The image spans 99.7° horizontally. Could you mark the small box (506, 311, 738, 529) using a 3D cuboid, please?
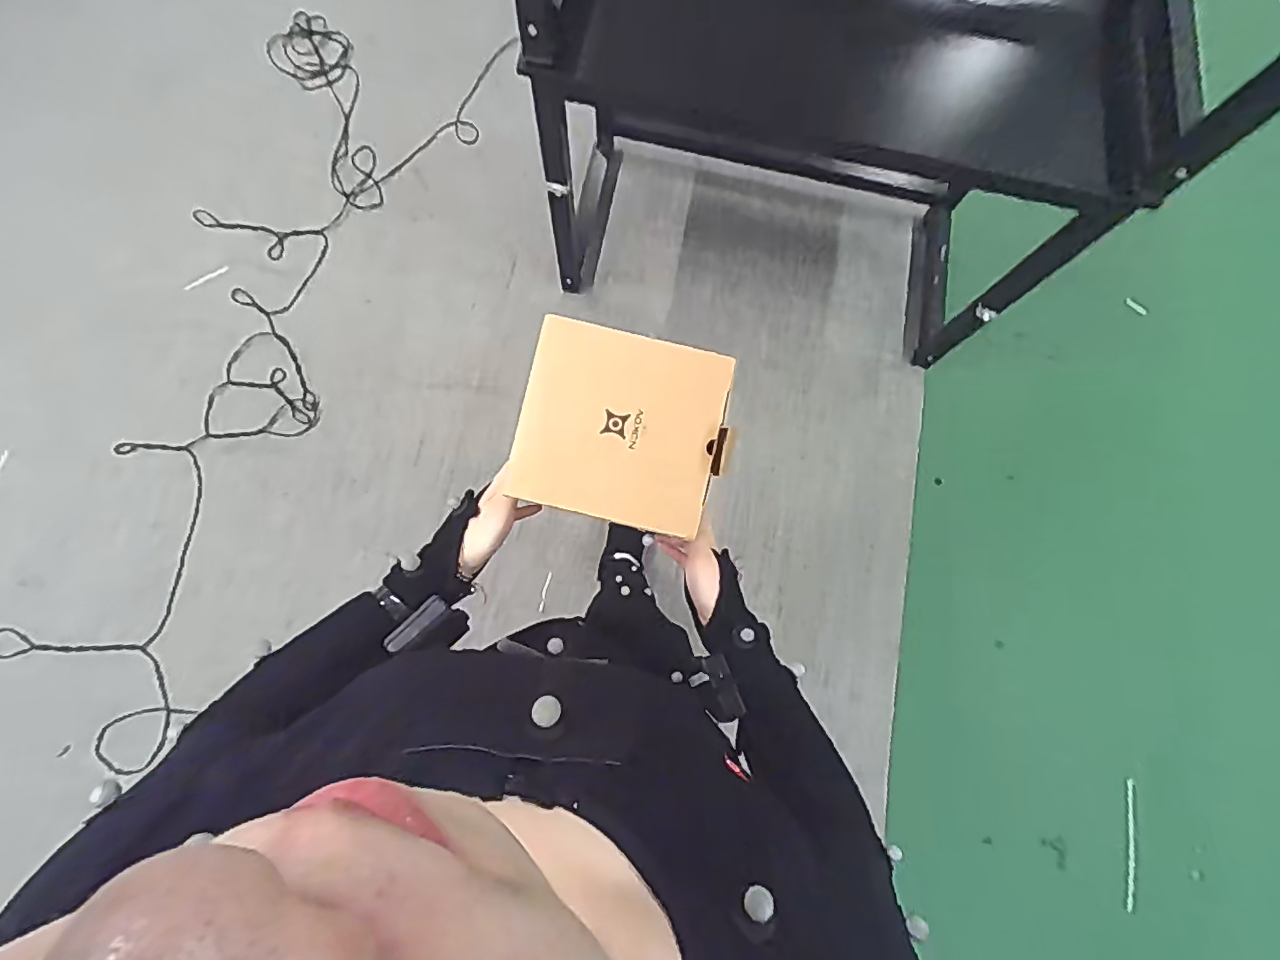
[{"bbox_3d":[-0.016,-0.048,0.552,0.179,0.176,0.168,13,86,-1],"label":"small box"}]
